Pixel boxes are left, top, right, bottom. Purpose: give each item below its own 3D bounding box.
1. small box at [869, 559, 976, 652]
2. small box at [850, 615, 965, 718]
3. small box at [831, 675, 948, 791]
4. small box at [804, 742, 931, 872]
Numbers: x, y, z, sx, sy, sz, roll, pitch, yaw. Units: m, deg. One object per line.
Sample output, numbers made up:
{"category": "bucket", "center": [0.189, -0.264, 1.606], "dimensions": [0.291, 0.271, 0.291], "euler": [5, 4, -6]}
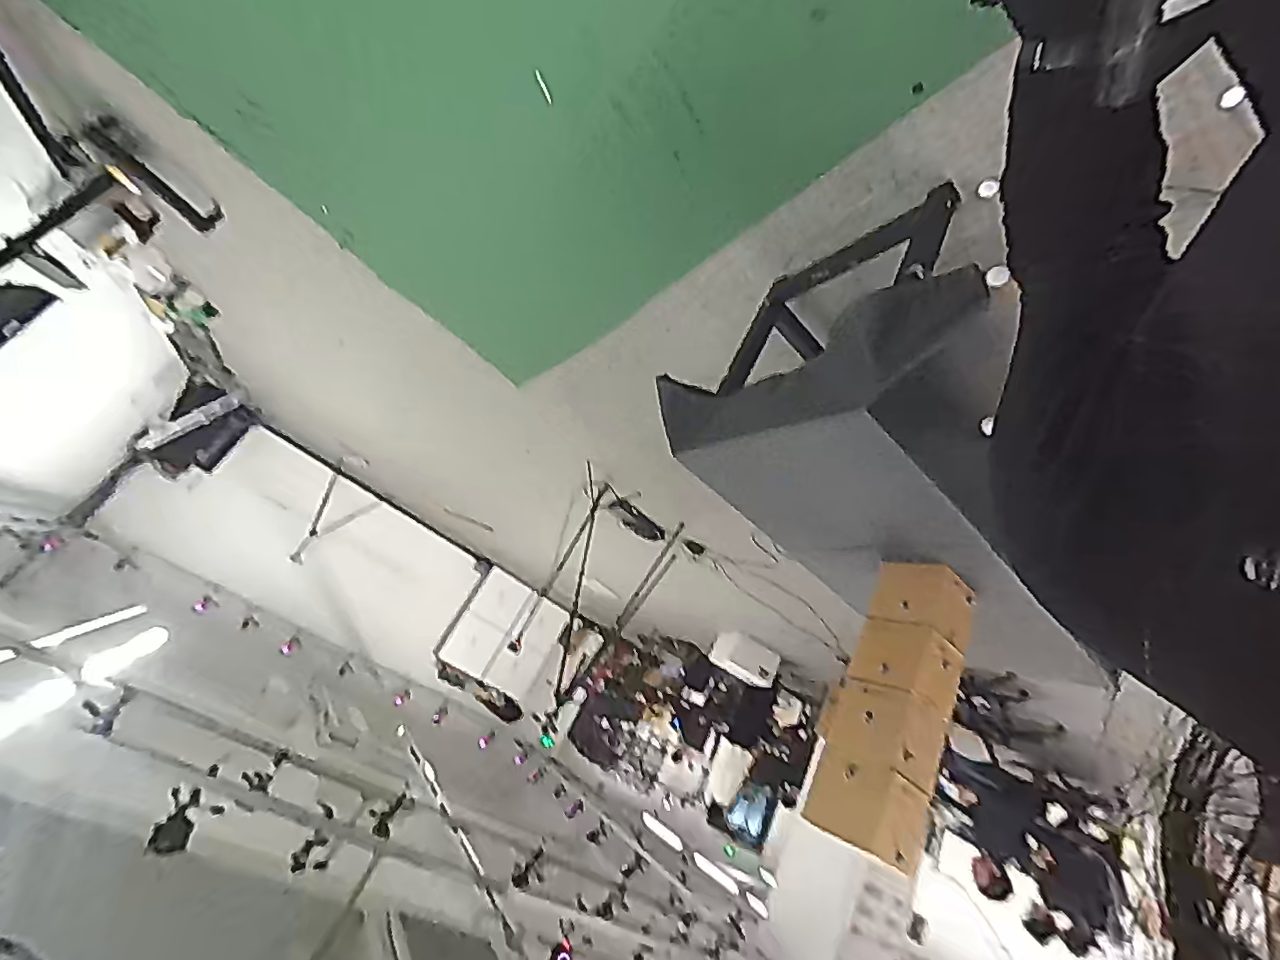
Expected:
{"category": "small box", "center": [0.728, 0.315, 1.382], "dimensions": [0.168, 0.176, 0.179], "euler": [39, 157, -22]}
{"category": "small box", "center": [0.655, 0.445, 1.319], "dimensions": [0.168, 0.176, 0.179], "euler": [39, 155, -22]}
{"category": "small box", "center": [0.580, 0.576, 1.253], "dimensions": [0.179, 0.176, 0.168], "euler": [40, 155, -23]}
{"category": "small box", "center": [0.502, 0.705, 1.188], "dimensions": [0.168, 0.176, 0.179], "euler": [40, 155, -24]}
